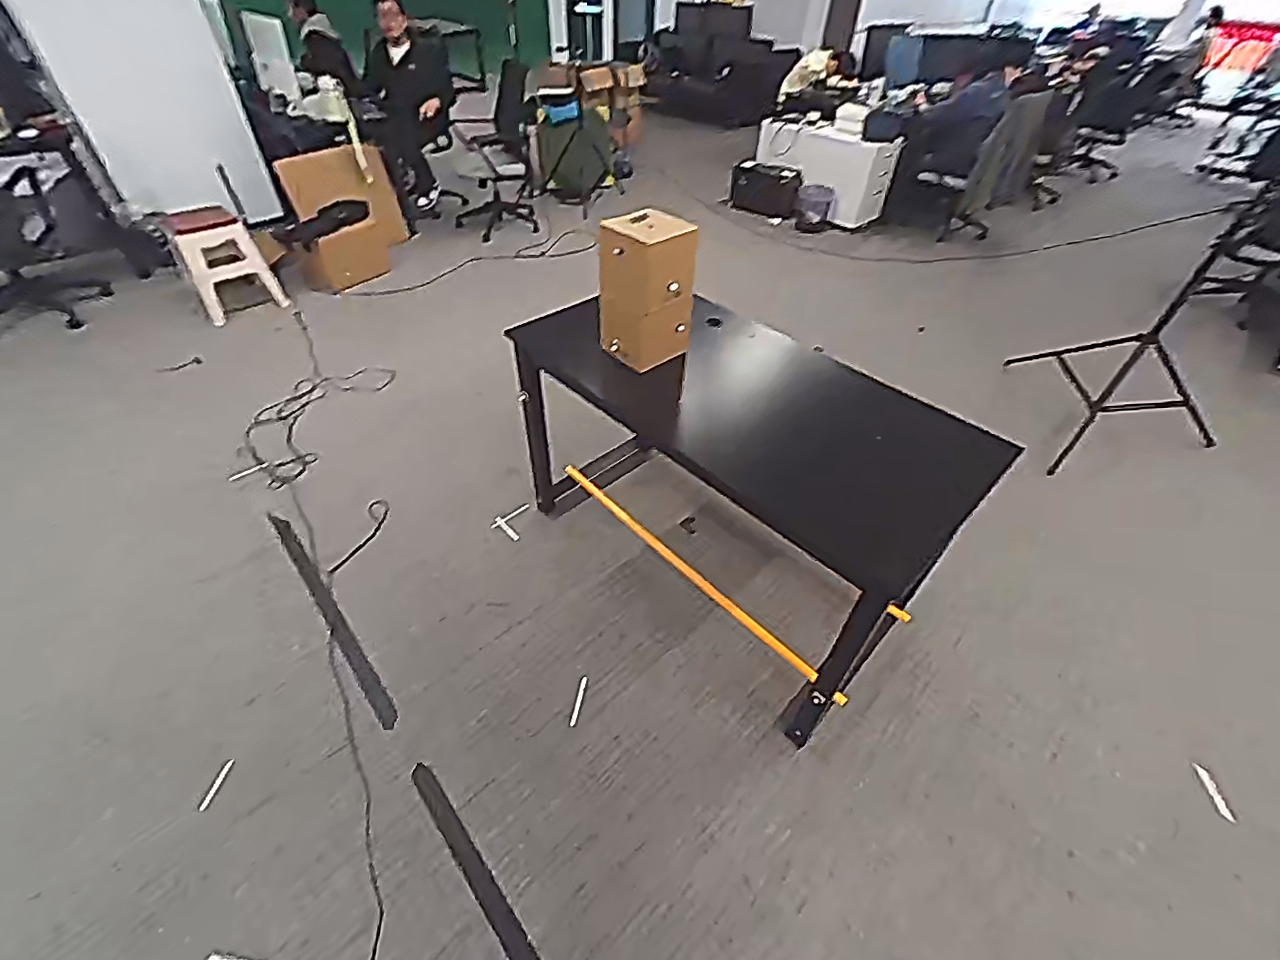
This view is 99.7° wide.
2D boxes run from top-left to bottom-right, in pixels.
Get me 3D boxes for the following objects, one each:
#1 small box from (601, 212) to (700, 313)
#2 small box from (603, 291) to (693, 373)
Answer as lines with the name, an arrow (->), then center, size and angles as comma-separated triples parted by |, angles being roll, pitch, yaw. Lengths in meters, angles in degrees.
small box -> 0.020, -0.530, 1.316 | 0.168, 0.176, 0.179 | -33, 54, -31
small box -> 0.016, -0.412, 1.430 | 0.179, 0.176, 0.168 | -33, 53, -30
